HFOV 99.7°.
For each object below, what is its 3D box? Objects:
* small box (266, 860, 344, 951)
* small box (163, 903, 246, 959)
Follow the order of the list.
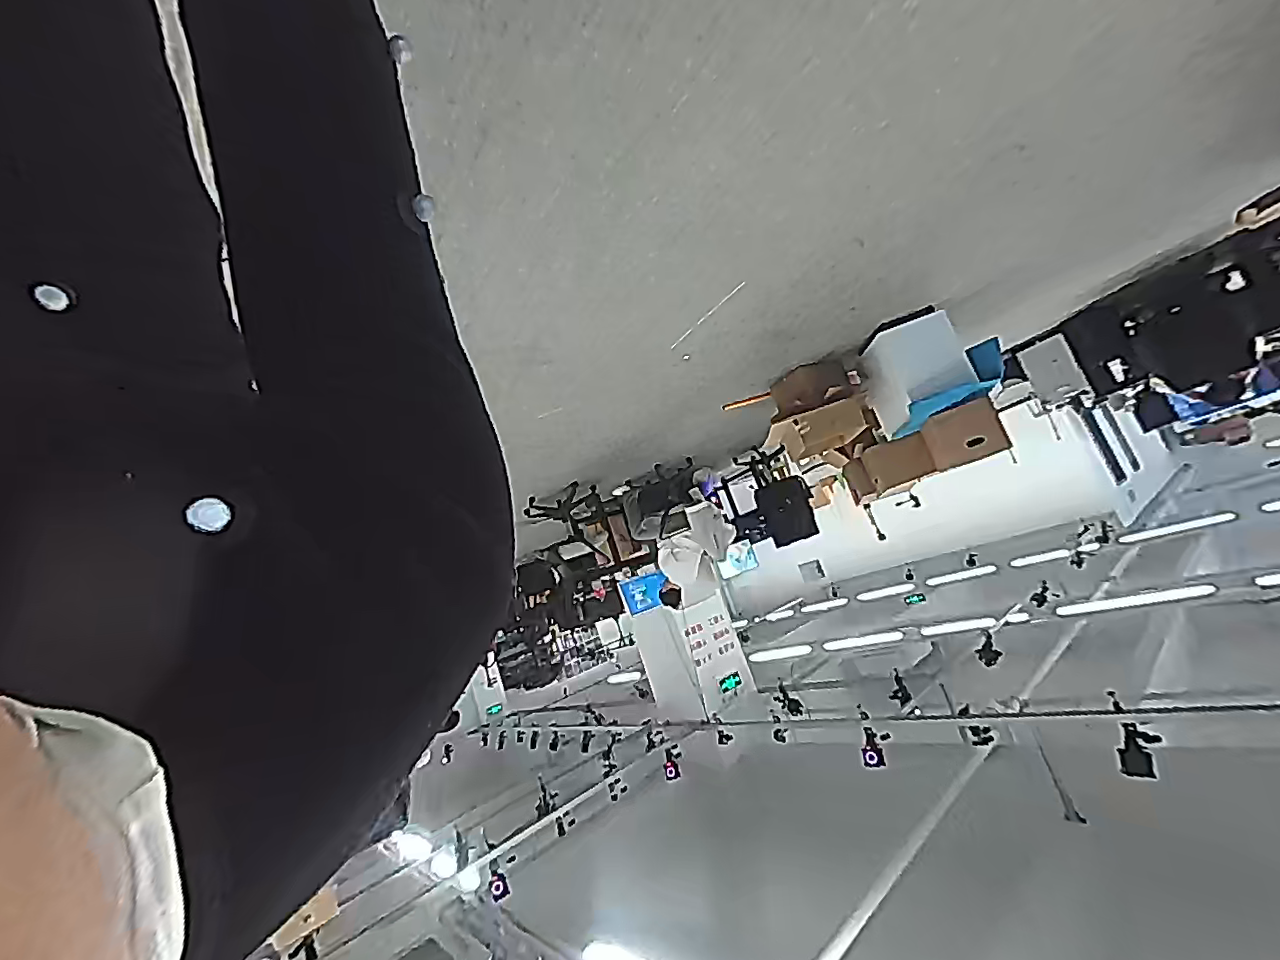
[{"bbox_3d":[-1.107,1.385,1.782,0.179,0.176,0.168,-9,165,-43],"label":"small box"},{"bbox_3d":[-1.302,1.423,1.620,0.179,0.176,0.168,-12,168,-39],"label":"small box"}]
